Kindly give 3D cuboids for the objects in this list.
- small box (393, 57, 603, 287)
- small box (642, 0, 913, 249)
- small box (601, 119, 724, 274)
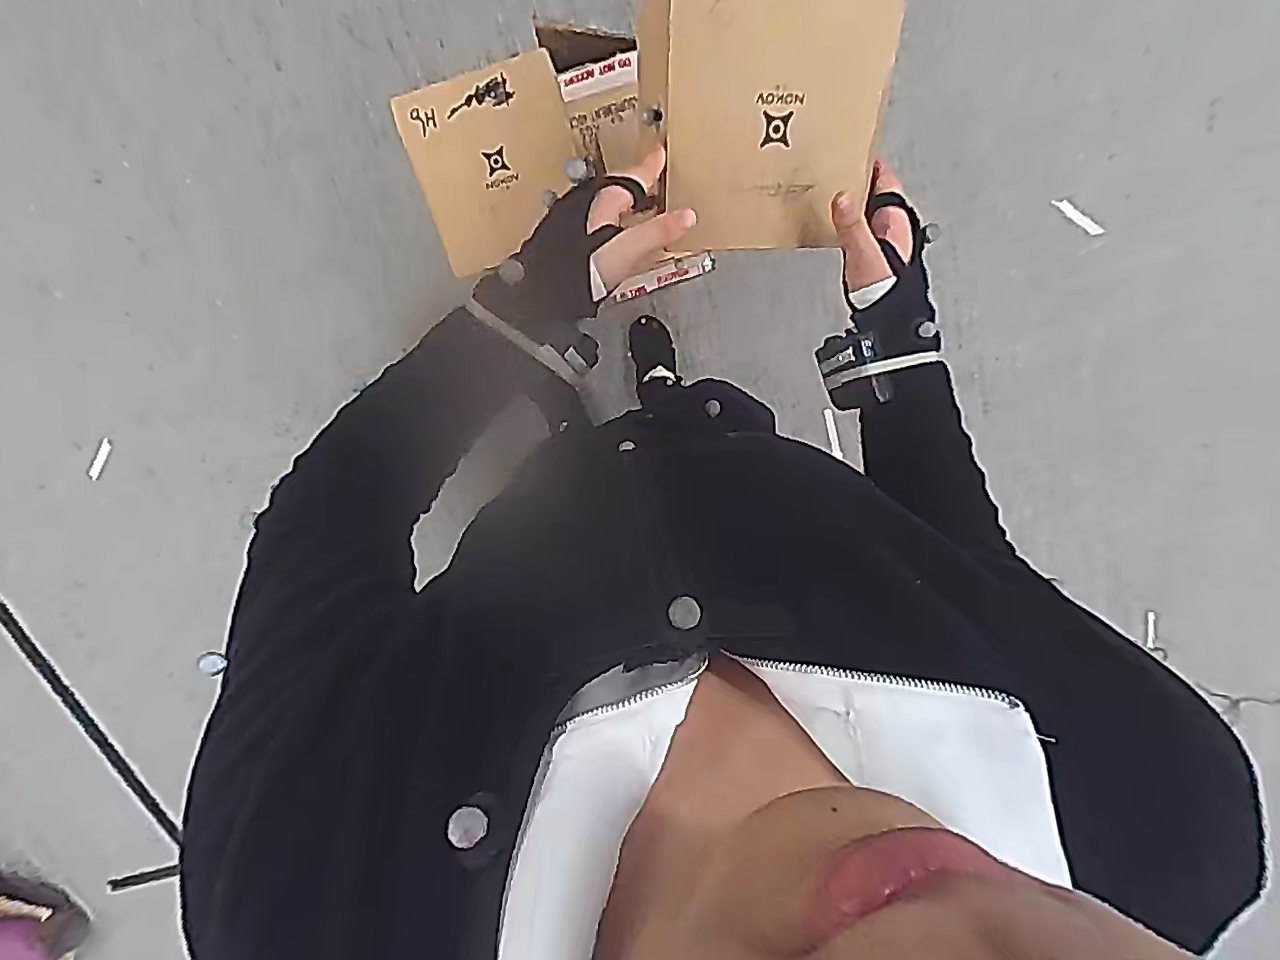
[{"bbox_3d":[-0.145,-0.342,0.631,0.168,0.176,0.179,-16,112,5],"label":"small box"},{"bbox_3d":[0.092,-0.304,0.458,0.168,0.176,0.179,-4,124,-6],"label":"small box"},{"bbox_3d":[0.042,-0.413,0.791,0.168,0.176,0.179,-17,110,2],"label":"small box"}]
